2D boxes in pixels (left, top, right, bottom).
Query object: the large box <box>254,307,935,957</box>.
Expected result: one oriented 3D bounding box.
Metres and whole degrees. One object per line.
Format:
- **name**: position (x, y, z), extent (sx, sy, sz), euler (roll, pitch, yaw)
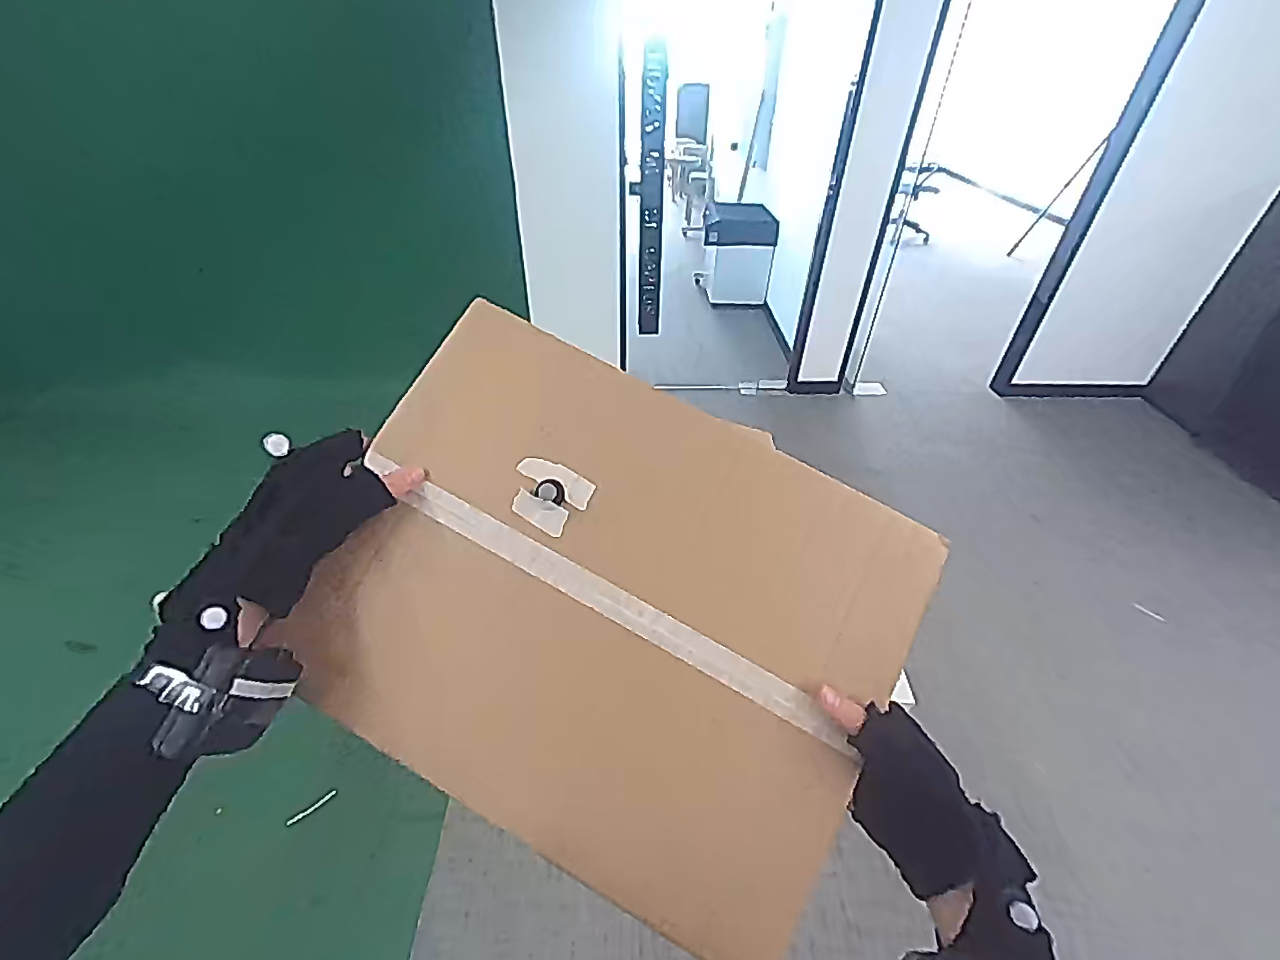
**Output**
- **large box**: position (-0.025, 0.110, 0.530), extent (0.408, 0.320, 0.320), euler (29, 79, 8)
